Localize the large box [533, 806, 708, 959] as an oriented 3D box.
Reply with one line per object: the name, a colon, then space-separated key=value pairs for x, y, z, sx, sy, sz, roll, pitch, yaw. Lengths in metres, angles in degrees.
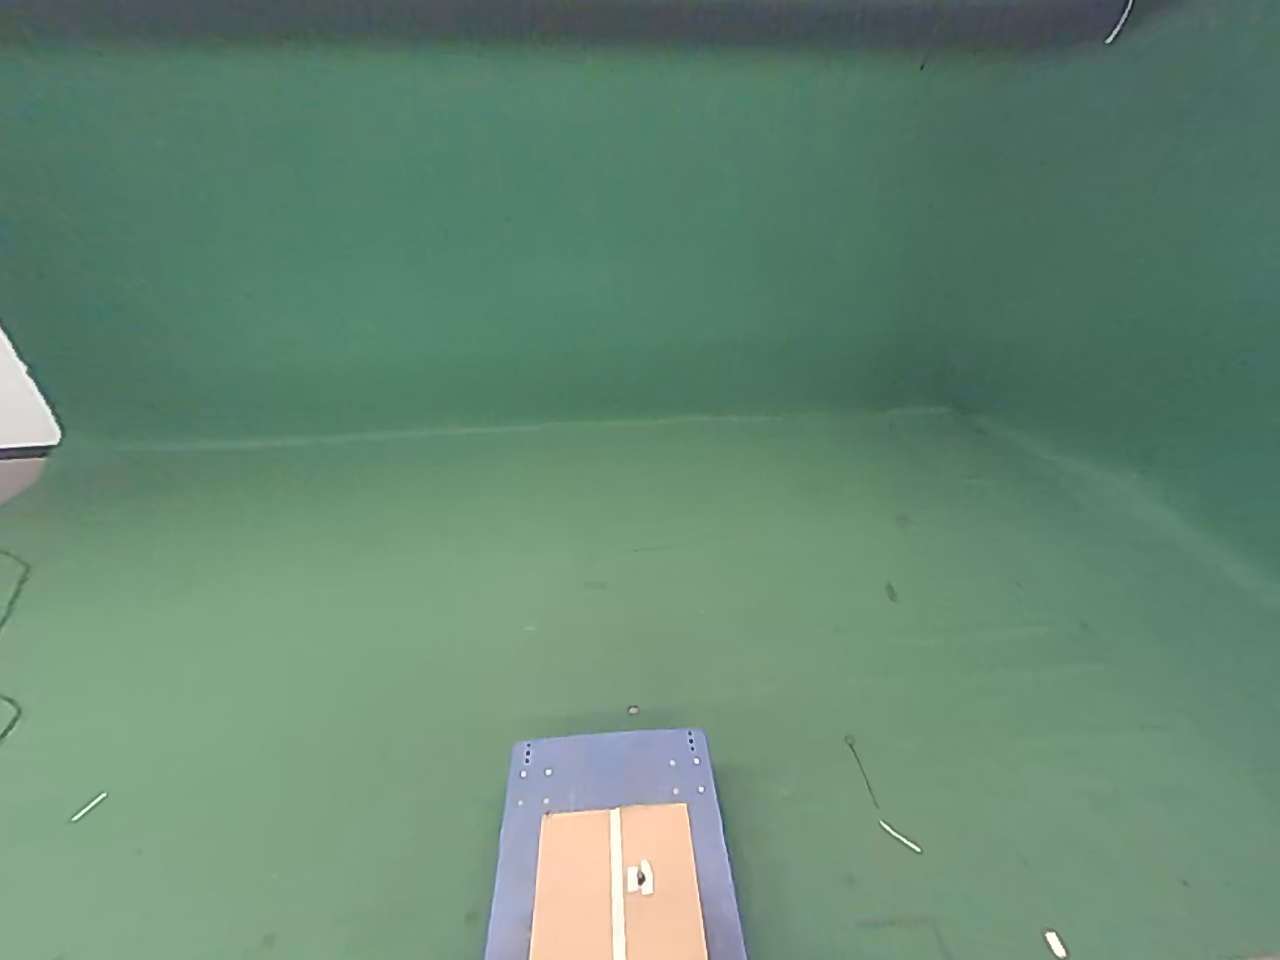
large box: x=-0.035 y=0.945 z=1.070 sx=0.320 sy=0.320 sz=0.408 roll=-3 pitch=31 yaw=-3
